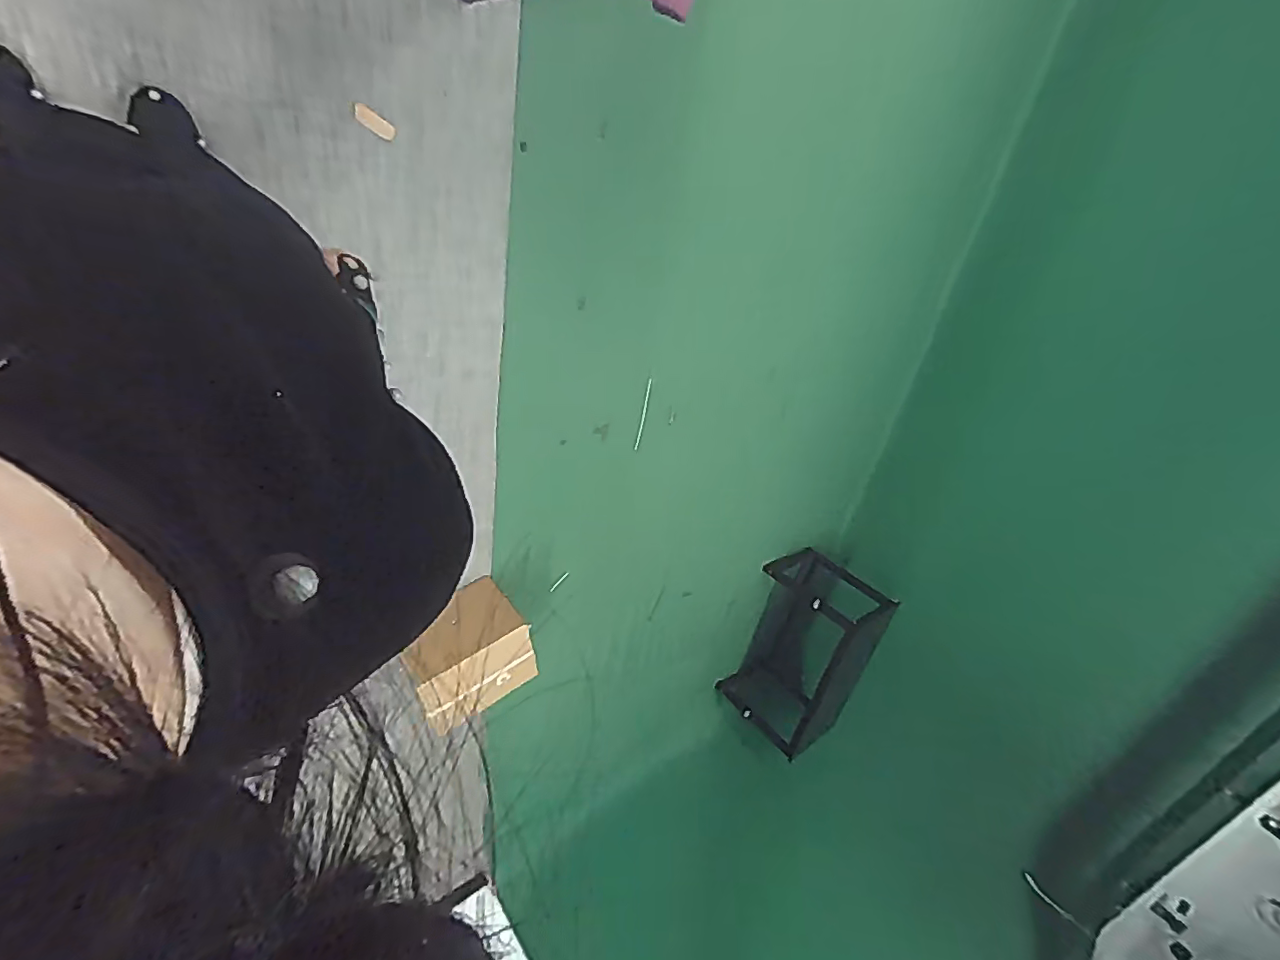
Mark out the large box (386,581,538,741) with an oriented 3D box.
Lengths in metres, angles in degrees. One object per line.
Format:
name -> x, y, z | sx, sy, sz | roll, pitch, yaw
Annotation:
large box -> -0.643, 0.647, 1.985 | 0.408, 0.320, 0.320 | -27, 135, -31
